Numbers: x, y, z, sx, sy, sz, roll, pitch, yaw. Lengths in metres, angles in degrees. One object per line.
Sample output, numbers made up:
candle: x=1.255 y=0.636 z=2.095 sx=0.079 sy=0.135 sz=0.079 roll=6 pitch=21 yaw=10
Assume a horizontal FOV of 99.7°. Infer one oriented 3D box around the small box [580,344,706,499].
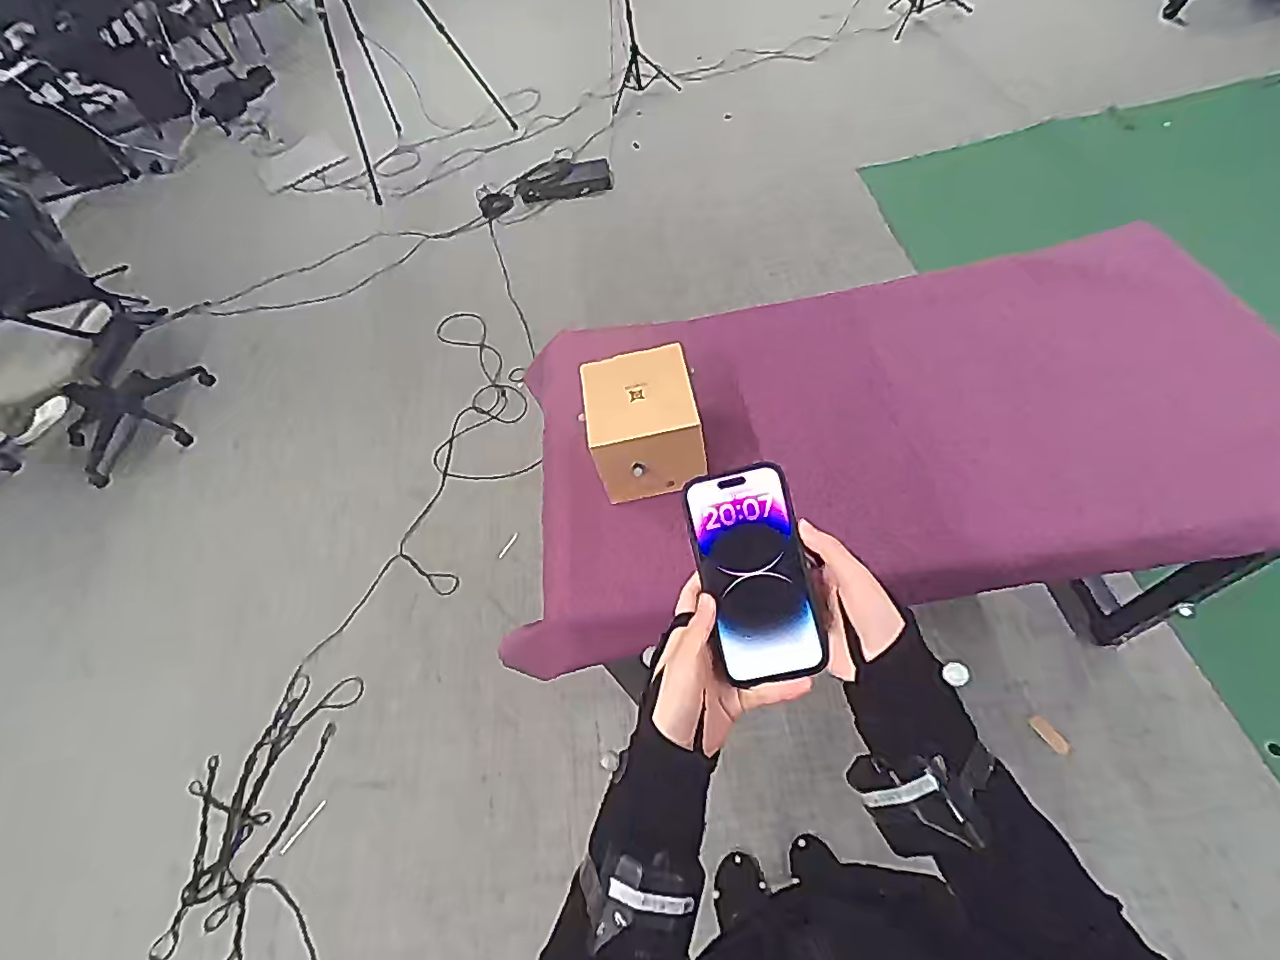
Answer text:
small box: x=0.008 y=-0.085 z=0.879 sx=0.168 sy=0.176 sz=0.179 roll=-12 pitch=54 yaw=4
